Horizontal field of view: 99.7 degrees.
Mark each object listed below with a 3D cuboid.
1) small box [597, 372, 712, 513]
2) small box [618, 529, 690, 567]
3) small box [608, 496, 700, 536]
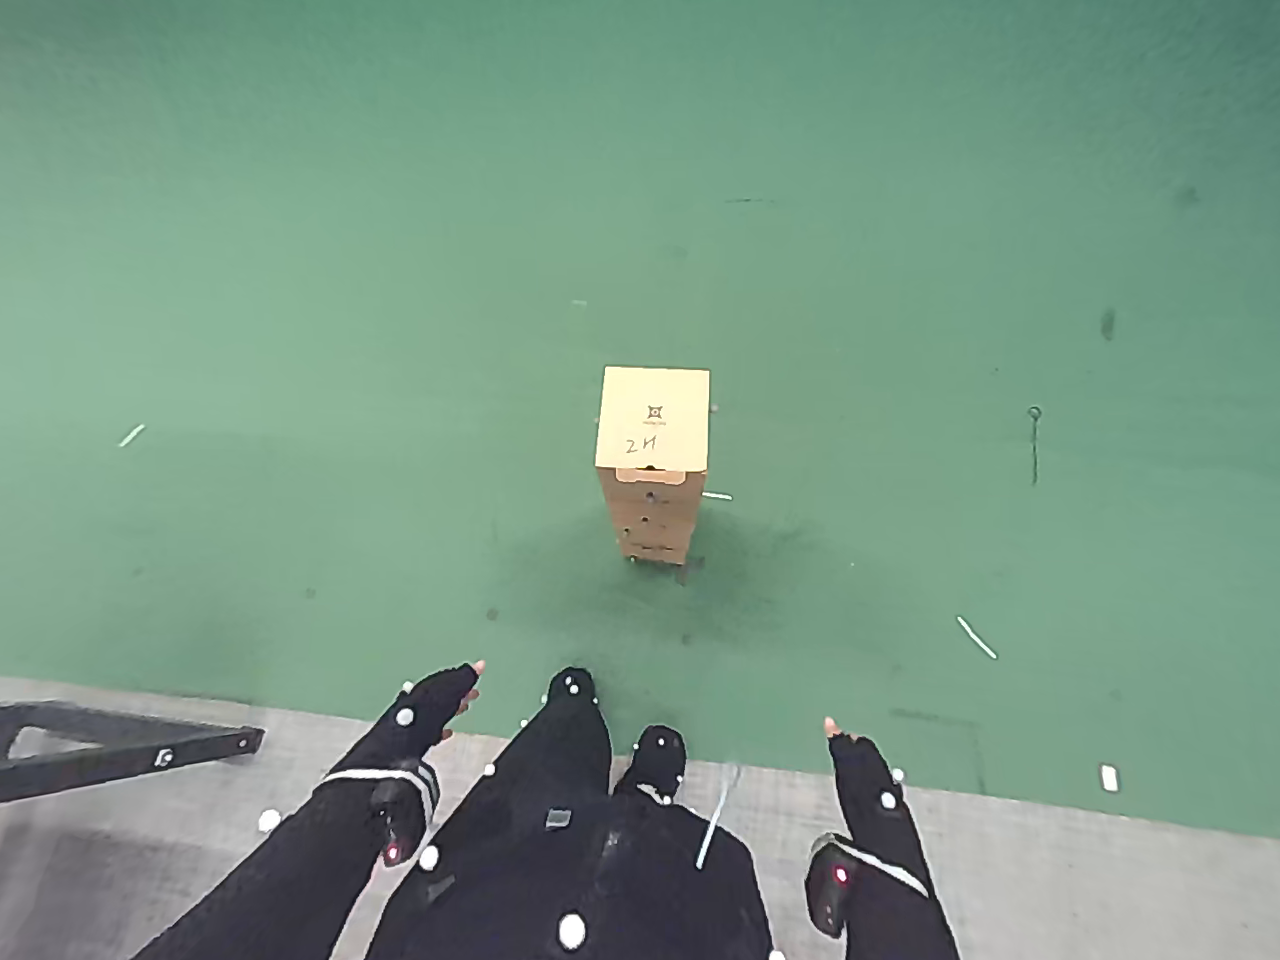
[{"bbox_3d":[0.027,-0.057,0.896,0.168,0.176,0.179,3,70,4],"label":"small box"},{"bbox_3d":[0.046,0.112,1.357,0.168,0.176,0.179,7,70,5],"label":"small box"},{"bbox_3d":[0.035,-0.002,1.051,0.168,0.176,0.179,5,70,4],"label":"small box"}]
